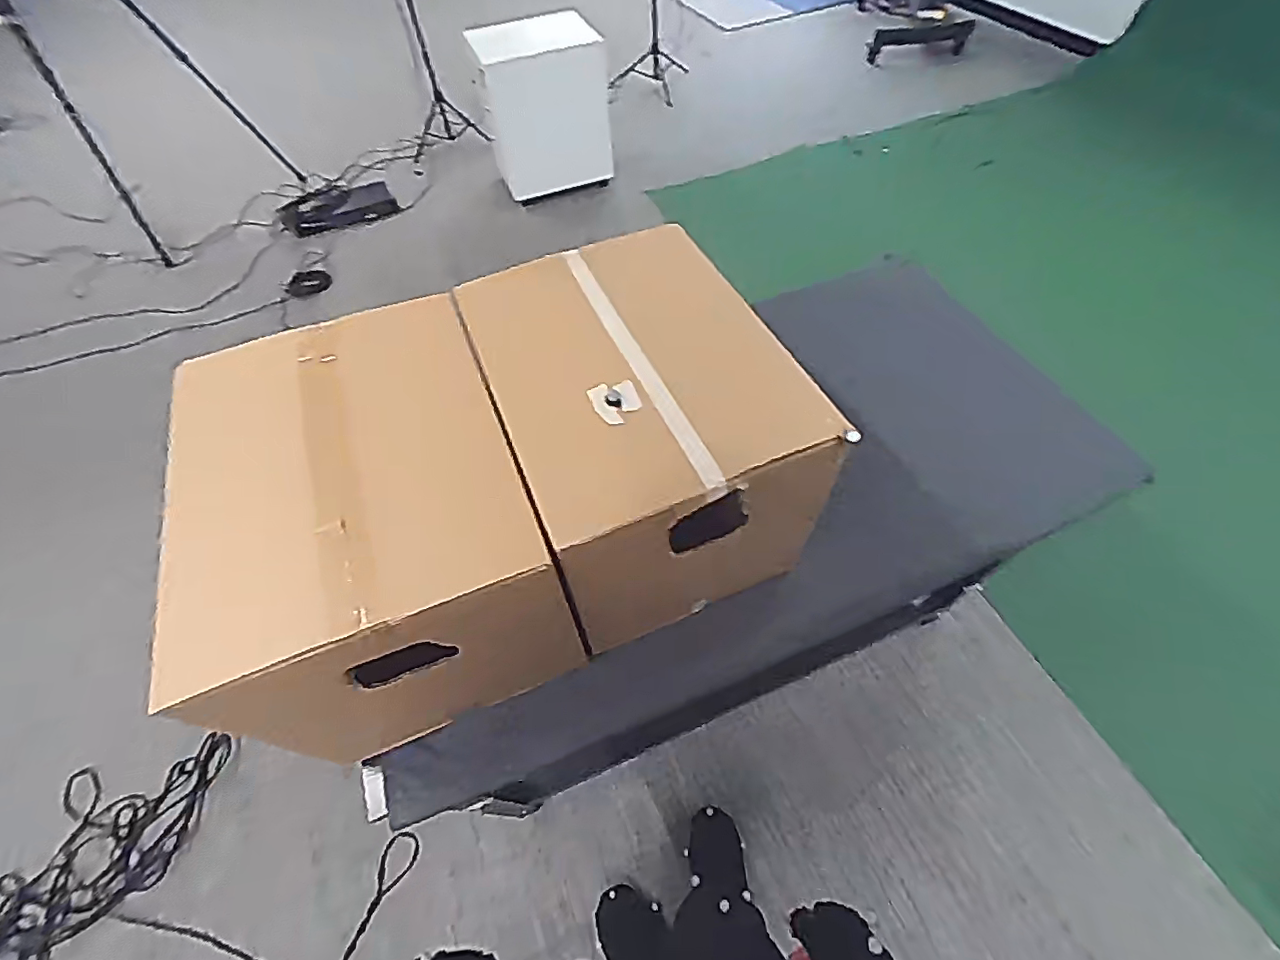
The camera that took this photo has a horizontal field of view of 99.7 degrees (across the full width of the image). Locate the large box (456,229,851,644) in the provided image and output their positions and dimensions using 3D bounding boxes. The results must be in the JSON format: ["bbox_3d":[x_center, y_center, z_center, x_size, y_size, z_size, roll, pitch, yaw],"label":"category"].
[{"bbox_3d":[-0.007,-0.059,0.729,0.320,0.320,0.408,-22,59,-11],"label":"large box"}]
